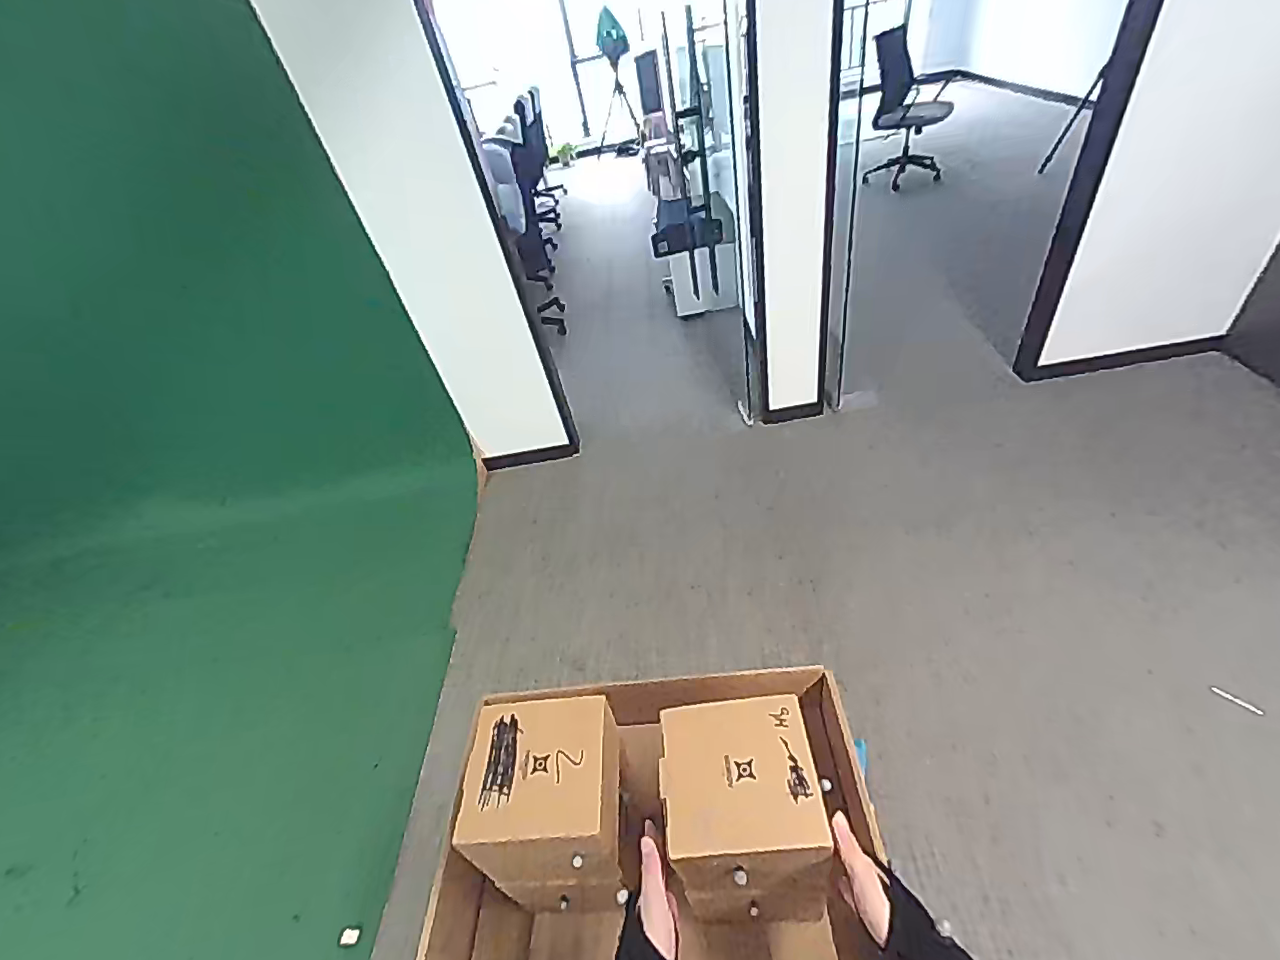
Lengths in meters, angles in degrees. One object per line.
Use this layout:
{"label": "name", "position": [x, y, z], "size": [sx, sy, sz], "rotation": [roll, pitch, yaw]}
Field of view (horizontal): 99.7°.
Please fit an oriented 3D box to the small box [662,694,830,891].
{"label": "small box", "position": [0.131, 0.394, 0.677], "size": [0.179, 0.176, 0.168], "rotation": [-10, 41, 8]}
